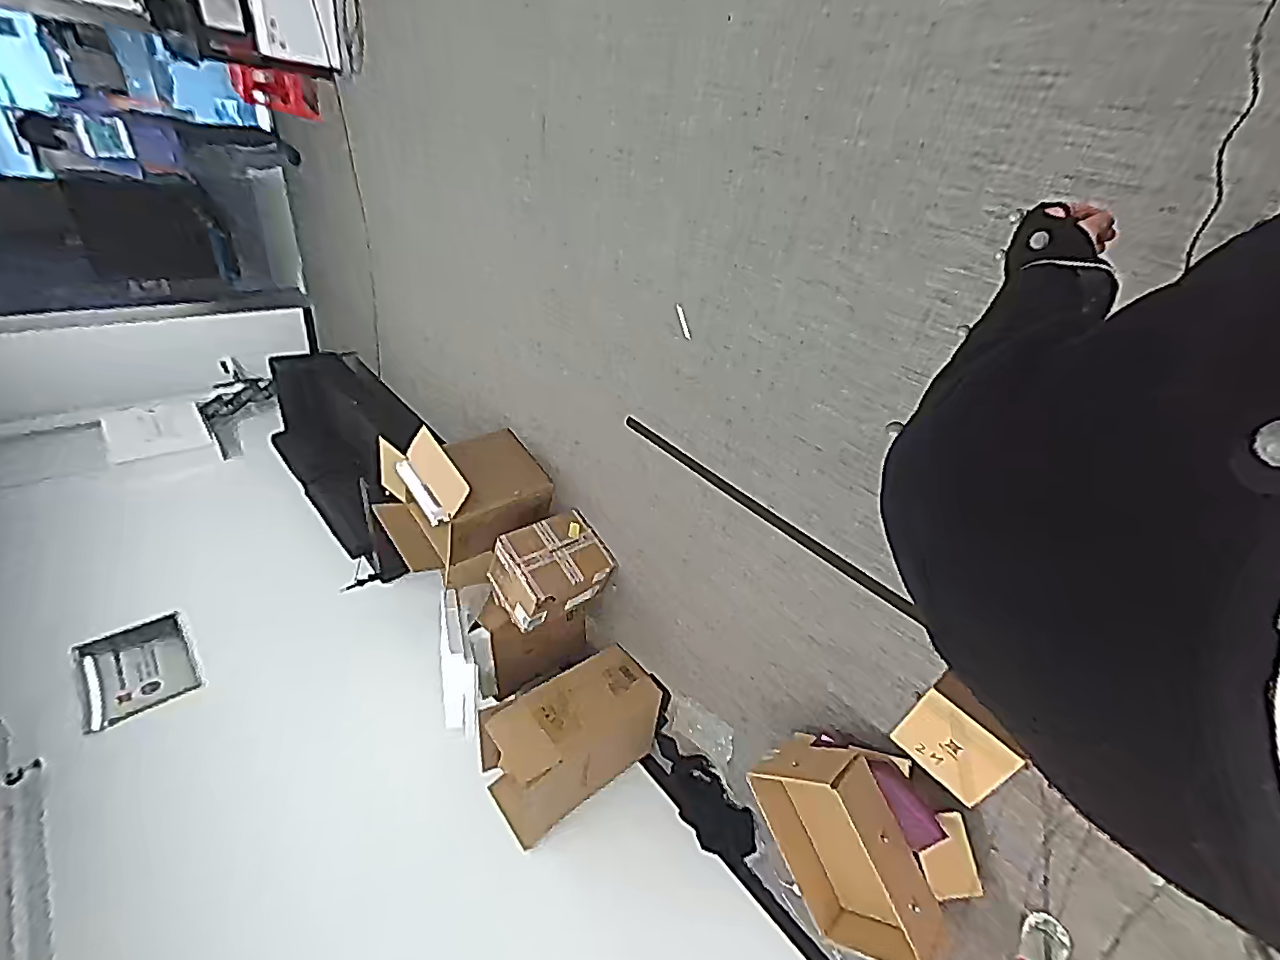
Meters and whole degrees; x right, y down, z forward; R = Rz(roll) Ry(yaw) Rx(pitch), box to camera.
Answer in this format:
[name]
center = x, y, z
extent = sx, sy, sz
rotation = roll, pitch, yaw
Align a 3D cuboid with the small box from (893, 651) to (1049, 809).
[small box]
center = 0.616, 0.454, 1.004
extent = 0.168, 0.176, 0.179
rotation = 41, 135, 33
